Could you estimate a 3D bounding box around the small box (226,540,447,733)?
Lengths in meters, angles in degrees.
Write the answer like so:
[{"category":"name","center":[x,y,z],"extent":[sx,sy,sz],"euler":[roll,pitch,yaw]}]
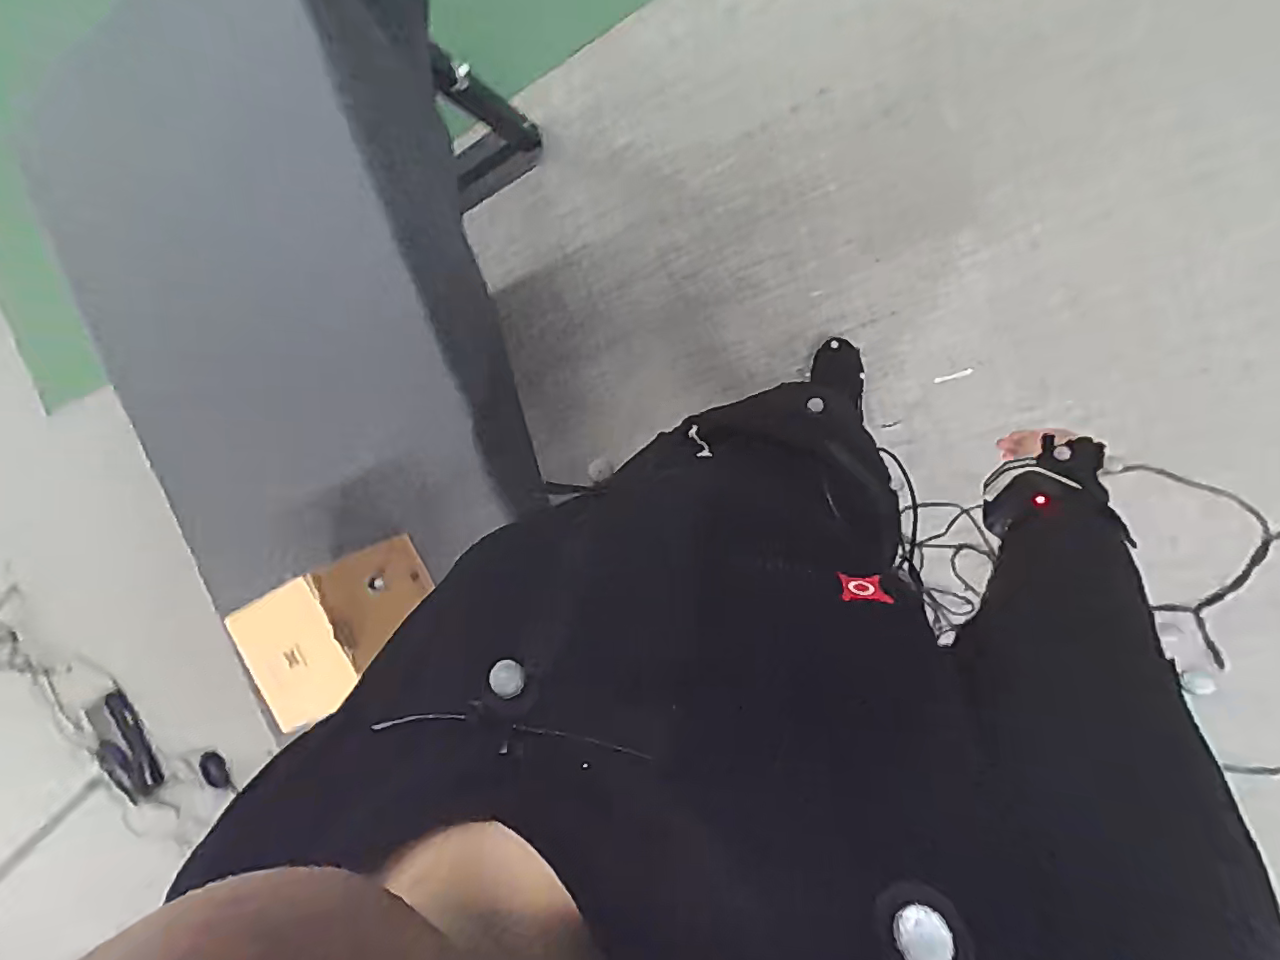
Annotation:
[{"category":"small box","center":[-0.390,0.200,0.726],"extent":[0.179,0.176,0.168],"euler":[-27,91,23]}]
